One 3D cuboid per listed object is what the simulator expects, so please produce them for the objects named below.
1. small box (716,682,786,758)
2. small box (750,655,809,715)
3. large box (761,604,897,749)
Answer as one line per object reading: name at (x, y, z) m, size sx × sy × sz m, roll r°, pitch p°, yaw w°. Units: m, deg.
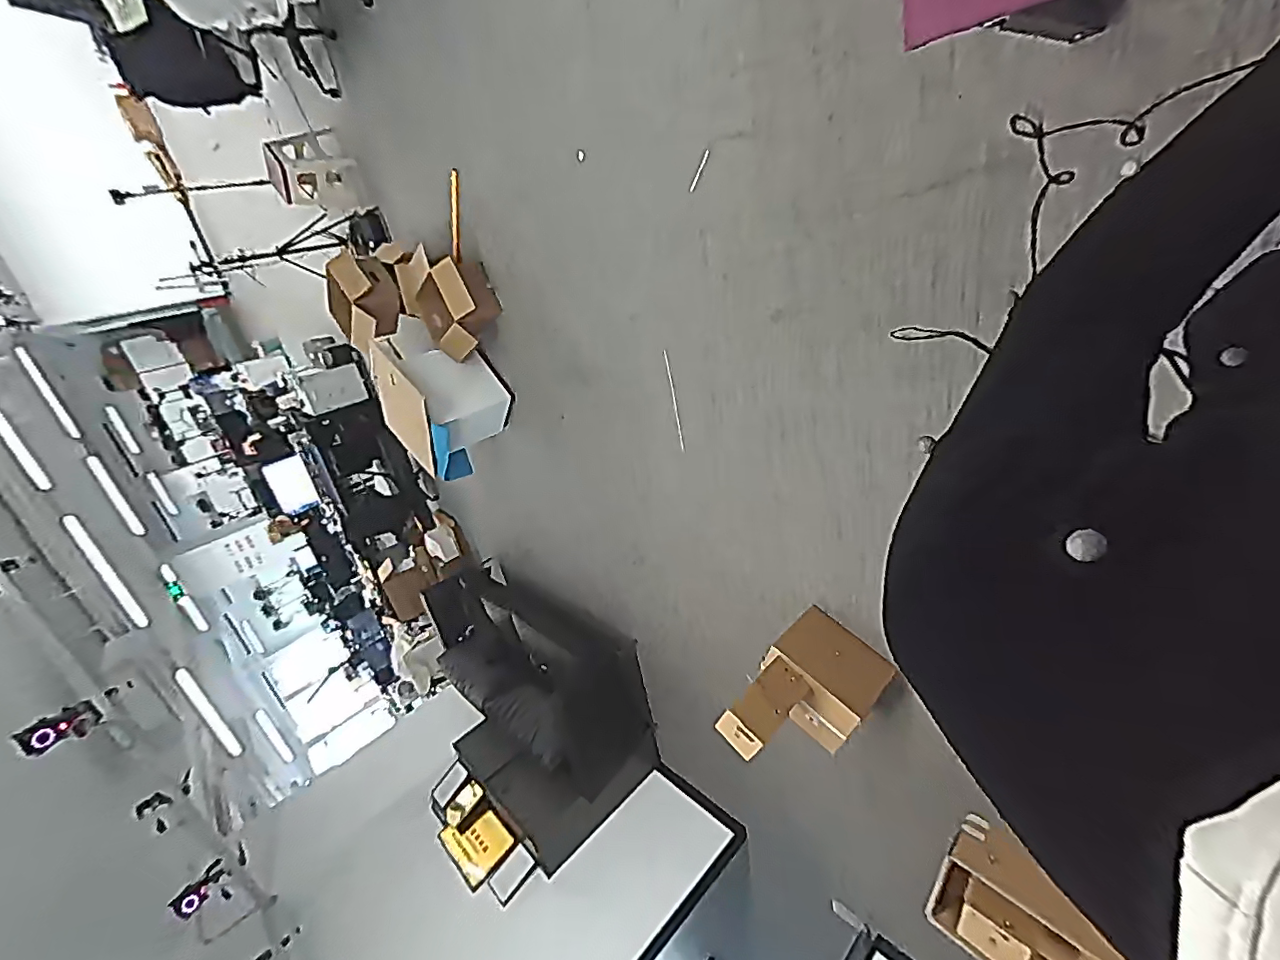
small box at (0.416, 0.884, 2.003) m, size 0.168 × 0.176 × 0.179 m, roll 41°, pitch 141°, yaw 23°
small box at (0.528, 0.821, 2.105) m, size 0.168 × 0.176 × 0.179 m, roll 41°, pitch 139°, yaw 24°
large box at (0.758, 0.795, 2.229) m, size 0.408 × 0.320 × 0.320 m, roll 36°, pitch 139°, yaw 29°
